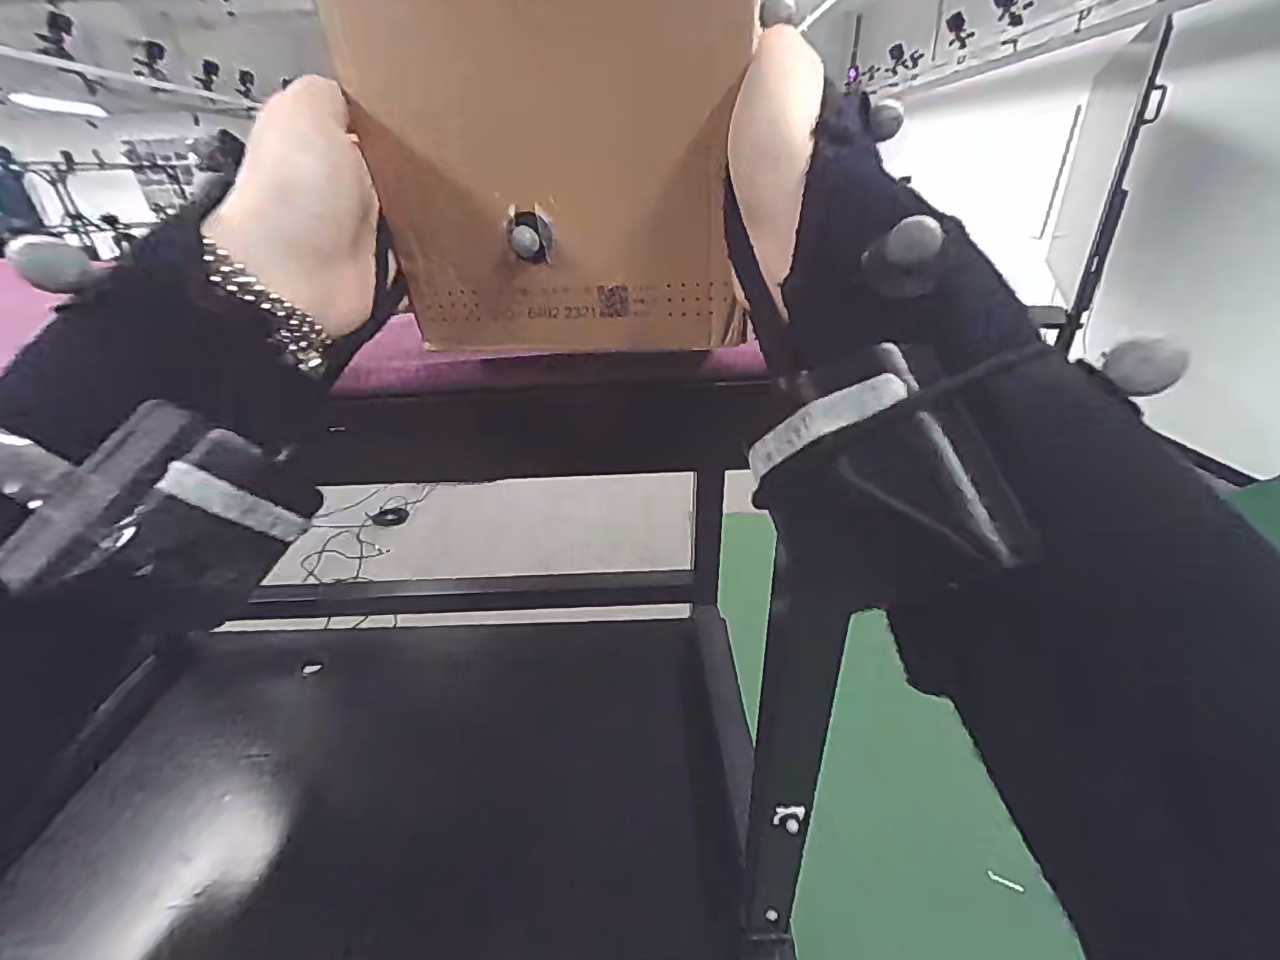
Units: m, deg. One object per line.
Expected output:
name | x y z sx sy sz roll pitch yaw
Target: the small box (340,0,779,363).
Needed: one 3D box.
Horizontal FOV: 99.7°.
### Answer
small box | -0.020 -0.174 0.283 0.168 0.176 0.179 1 37 9
